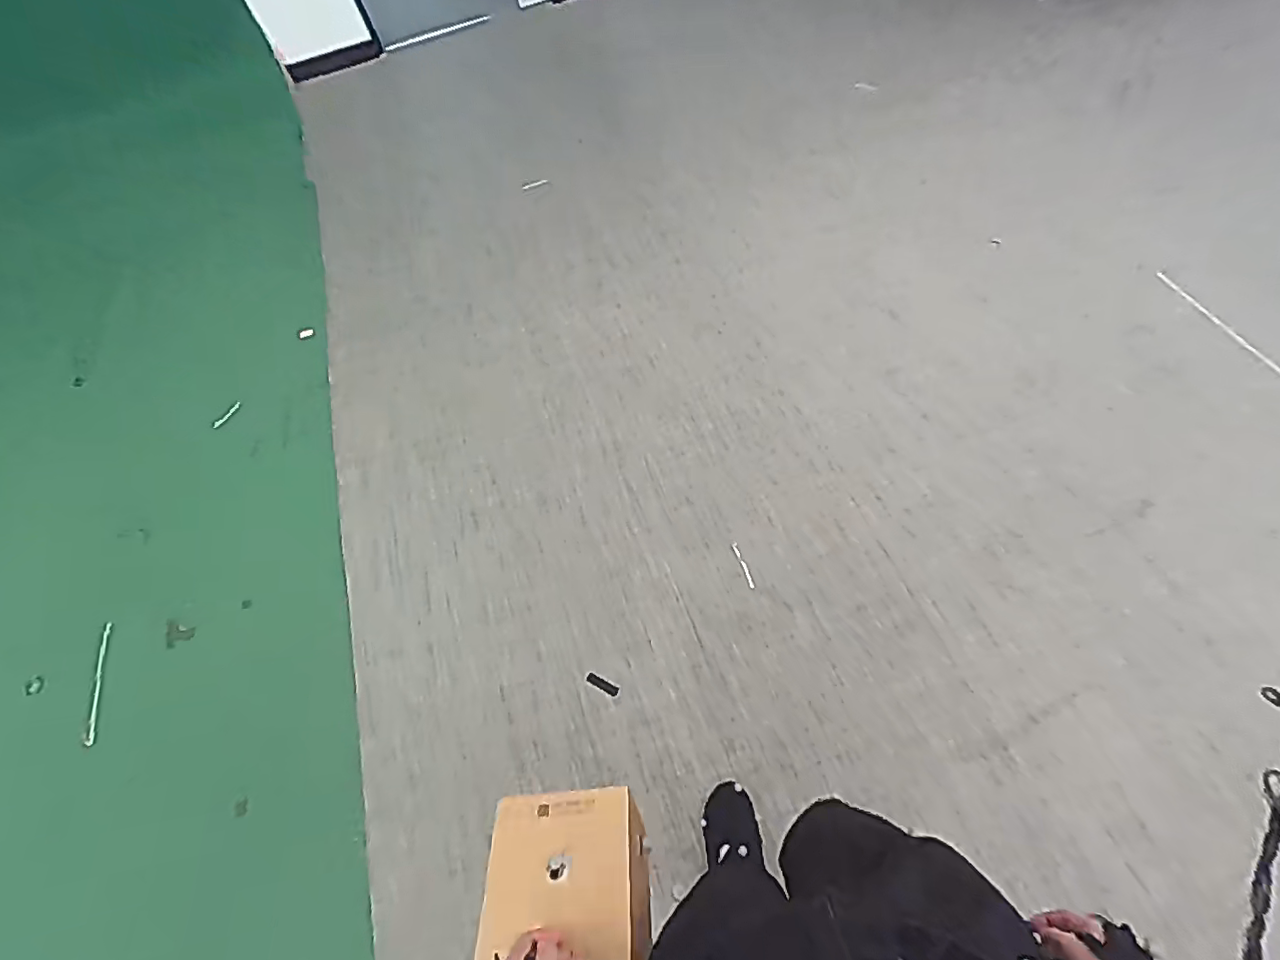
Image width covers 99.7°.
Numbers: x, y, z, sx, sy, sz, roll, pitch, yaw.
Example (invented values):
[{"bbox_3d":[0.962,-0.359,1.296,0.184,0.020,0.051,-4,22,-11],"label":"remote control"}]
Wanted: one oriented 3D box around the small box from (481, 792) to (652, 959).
[{"bbox_3d":[-0.081,0.495,0.654,0.168,0.179,0.176,-8,42,3],"label":"small box"}]
